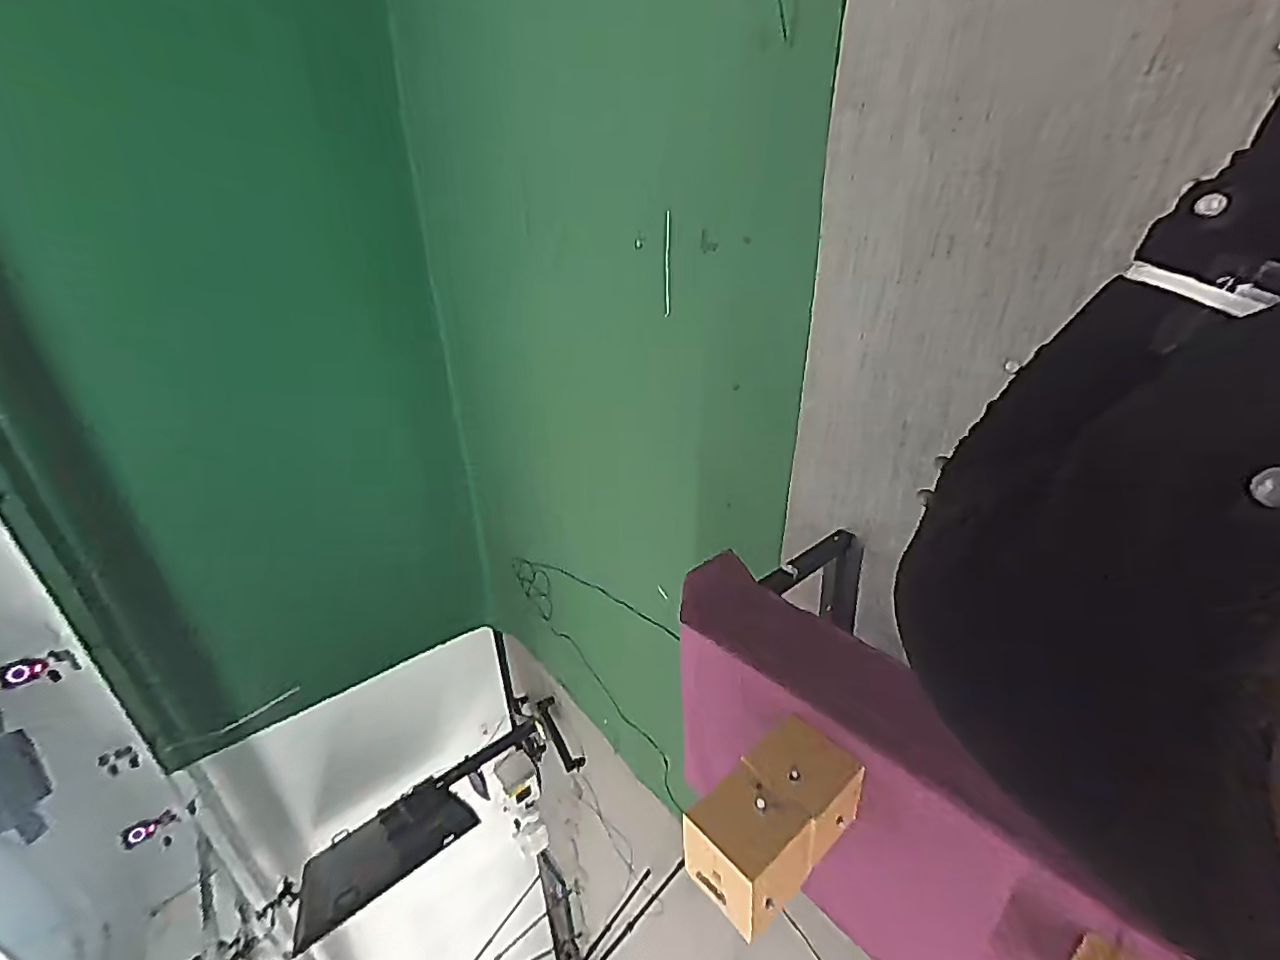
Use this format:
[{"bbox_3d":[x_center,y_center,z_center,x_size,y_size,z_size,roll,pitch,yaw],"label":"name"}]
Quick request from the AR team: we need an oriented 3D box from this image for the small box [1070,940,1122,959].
[{"bbox_3d":[0.648,0.795,0.730,0.168,0.176,0.179,26,126,45],"label":"small box"}]

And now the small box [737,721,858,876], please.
[{"bbox_3d":[0.315,0.632,1.096,0.179,0.176,0.168,26,126,45],"label":"small box"}]

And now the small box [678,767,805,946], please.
[{"bbox_3d":[0.189,0.687,1.006,0.168,0.176,0.179,23,124,46],"label":"small box"}]
